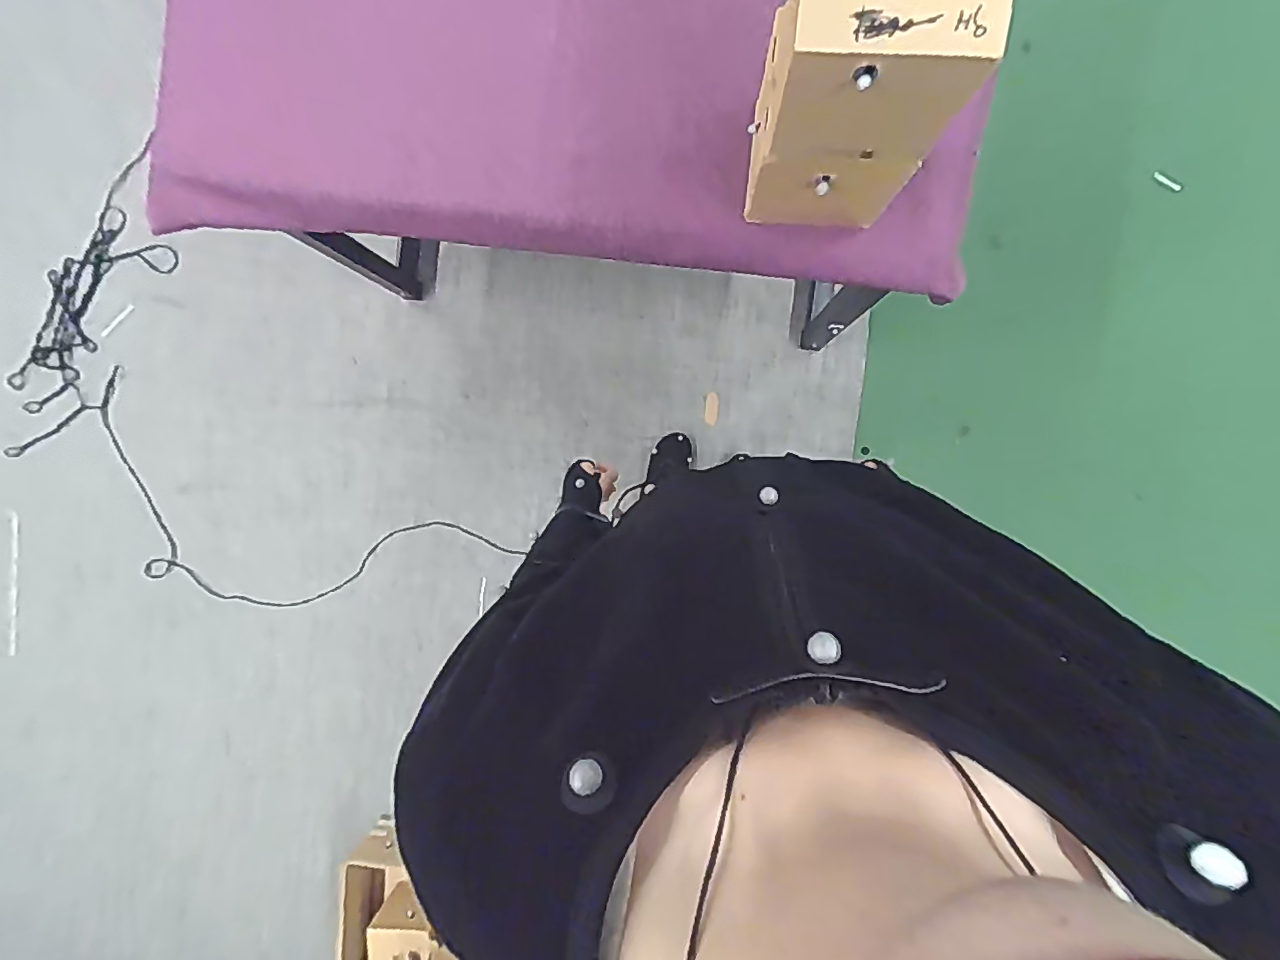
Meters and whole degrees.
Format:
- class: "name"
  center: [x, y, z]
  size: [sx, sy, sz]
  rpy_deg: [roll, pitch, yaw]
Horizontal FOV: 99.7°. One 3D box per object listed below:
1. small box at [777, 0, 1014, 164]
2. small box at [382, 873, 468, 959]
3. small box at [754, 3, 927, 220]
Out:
- class: "small box"
  center: [0.227, -0.434, 0.508]
  size: [0.168, 0.176, 0.179]
  rpy_deg: [7, 94, 8]
- class: "small box"
  center: [-0.599, 1.254, 1.530]
  size: [0.179, 0.176, 0.168]
  rpy_deg: [-2, 91, 6]
- class: "small box"
  center: [0.244, -0.440, 0.671]
  size: [0.179, 0.176, 0.168]
  rpy_deg: [6, 94, 7]
